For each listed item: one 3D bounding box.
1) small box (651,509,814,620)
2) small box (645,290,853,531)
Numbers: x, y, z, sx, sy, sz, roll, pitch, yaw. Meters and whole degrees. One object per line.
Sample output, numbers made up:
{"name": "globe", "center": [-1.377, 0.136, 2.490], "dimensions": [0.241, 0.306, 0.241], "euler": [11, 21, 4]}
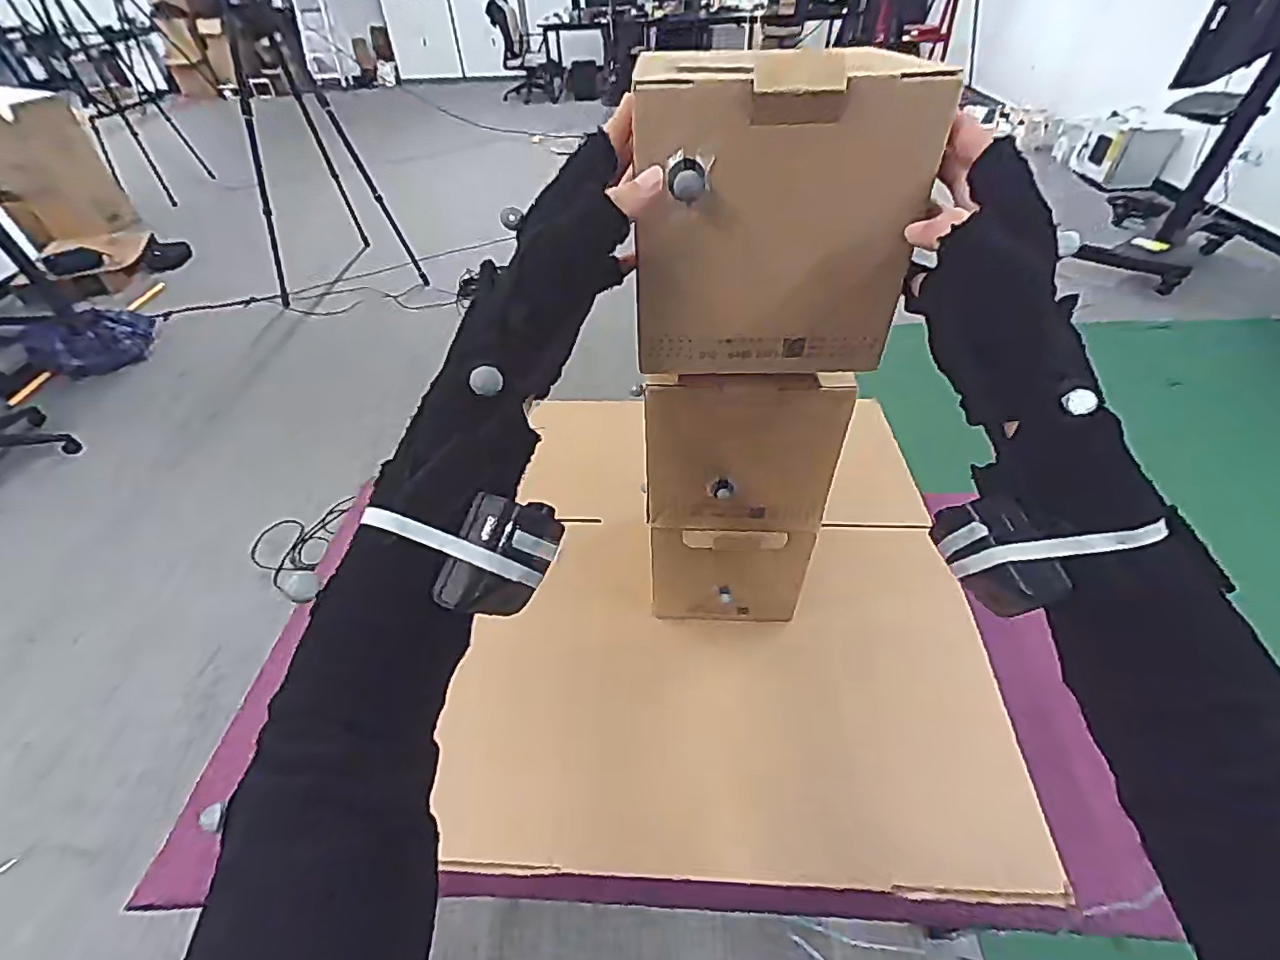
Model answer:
{"name": "small box", "center": [0.099, 0.045, 0.652], "dimensions": [0.168, 0.176, 0.179], "euler": [1, 44, 4]}
{"name": "small box", "center": [0.091, -0.072, 0.538], "dimensions": [0.168, 0.176, 0.179], "euler": [1, 45, 4]}
